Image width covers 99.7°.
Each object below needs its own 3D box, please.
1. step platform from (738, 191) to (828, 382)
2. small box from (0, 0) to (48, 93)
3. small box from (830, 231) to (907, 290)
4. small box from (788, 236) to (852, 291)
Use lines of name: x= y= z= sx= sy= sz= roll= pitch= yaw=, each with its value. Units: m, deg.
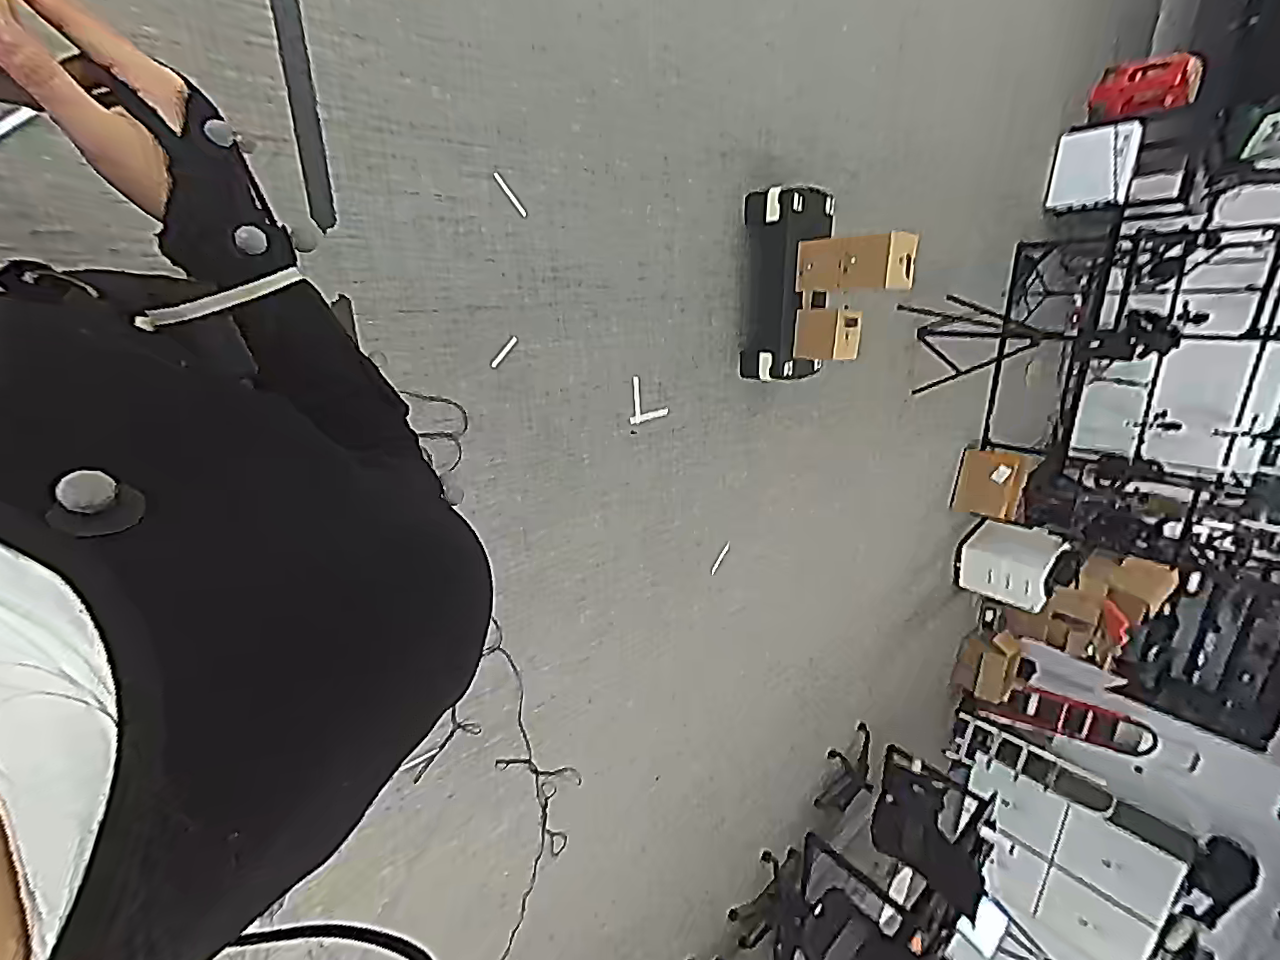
step platform: x=0.550 y=-0.726 z=2.079 sx=0.286 sy=0.204 sz=0.684 roll=-18 pitch=114 yaw=-38
small box: x=-0.396 y=-0.282 z=0.221 sx=0.179 sy=0.176 sz=0.168 roll=-19 pitch=121 yaw=-40
small box: x=0.758 y=-0.726 z=1.799 sx=0.179 sy=0.176 sz=0.168 roll=-15 pitch=113 yaw=-38
small box: x=0.648 y=-0.761 z=1.916 sx=0.179 sy=0.176 sz=0.168 roll=-15 pitch=112 yaw=-38
